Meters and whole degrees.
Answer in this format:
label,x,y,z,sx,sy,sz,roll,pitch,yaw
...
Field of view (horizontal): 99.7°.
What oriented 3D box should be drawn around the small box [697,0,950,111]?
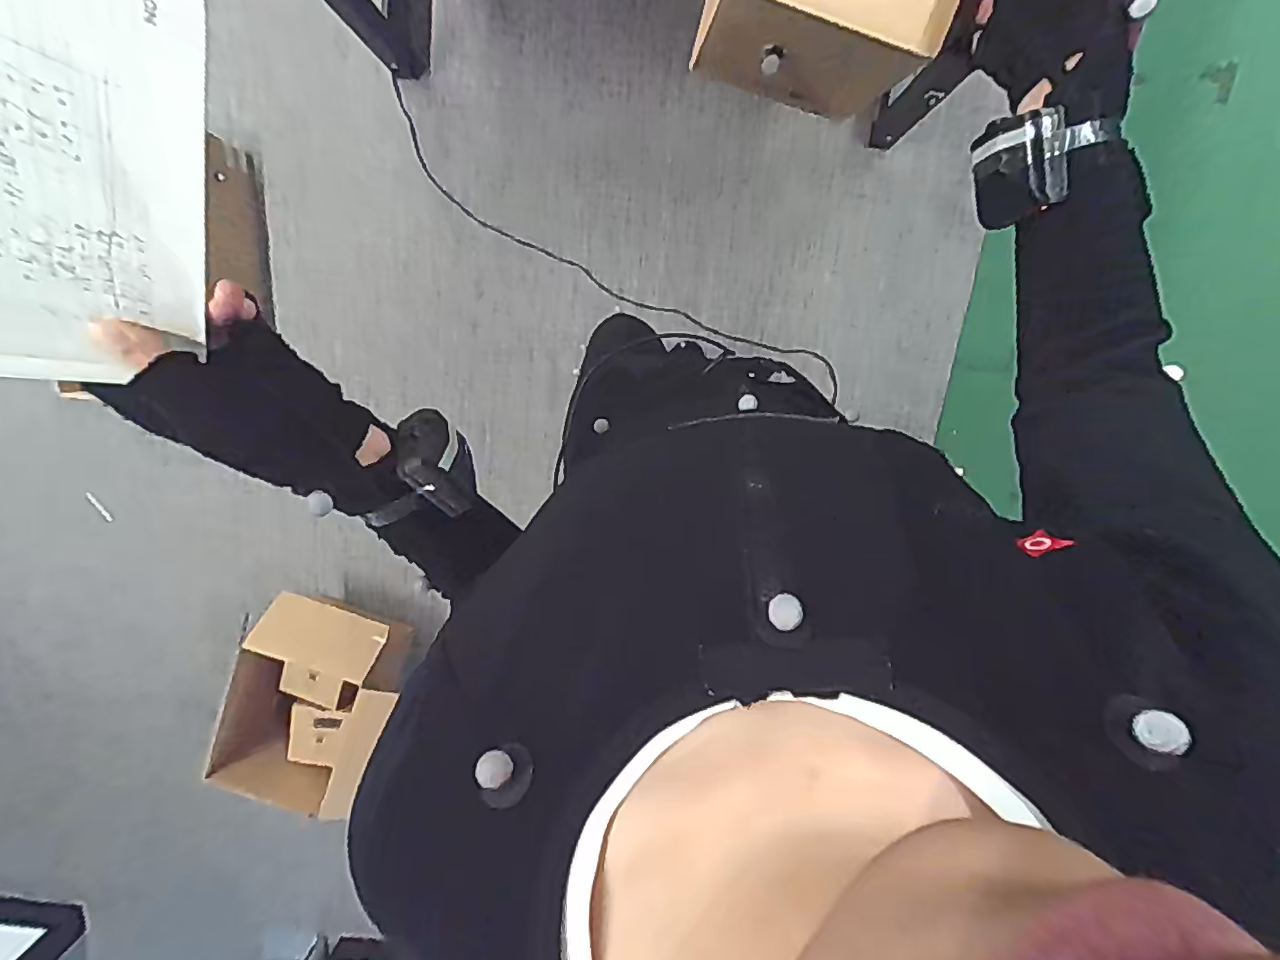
label,x,y,z,sx,sy,sz,roll,pitch,yaw
small box,0.151,-0.434,0.431,0.168,0.176,0.179,13,106,-8
